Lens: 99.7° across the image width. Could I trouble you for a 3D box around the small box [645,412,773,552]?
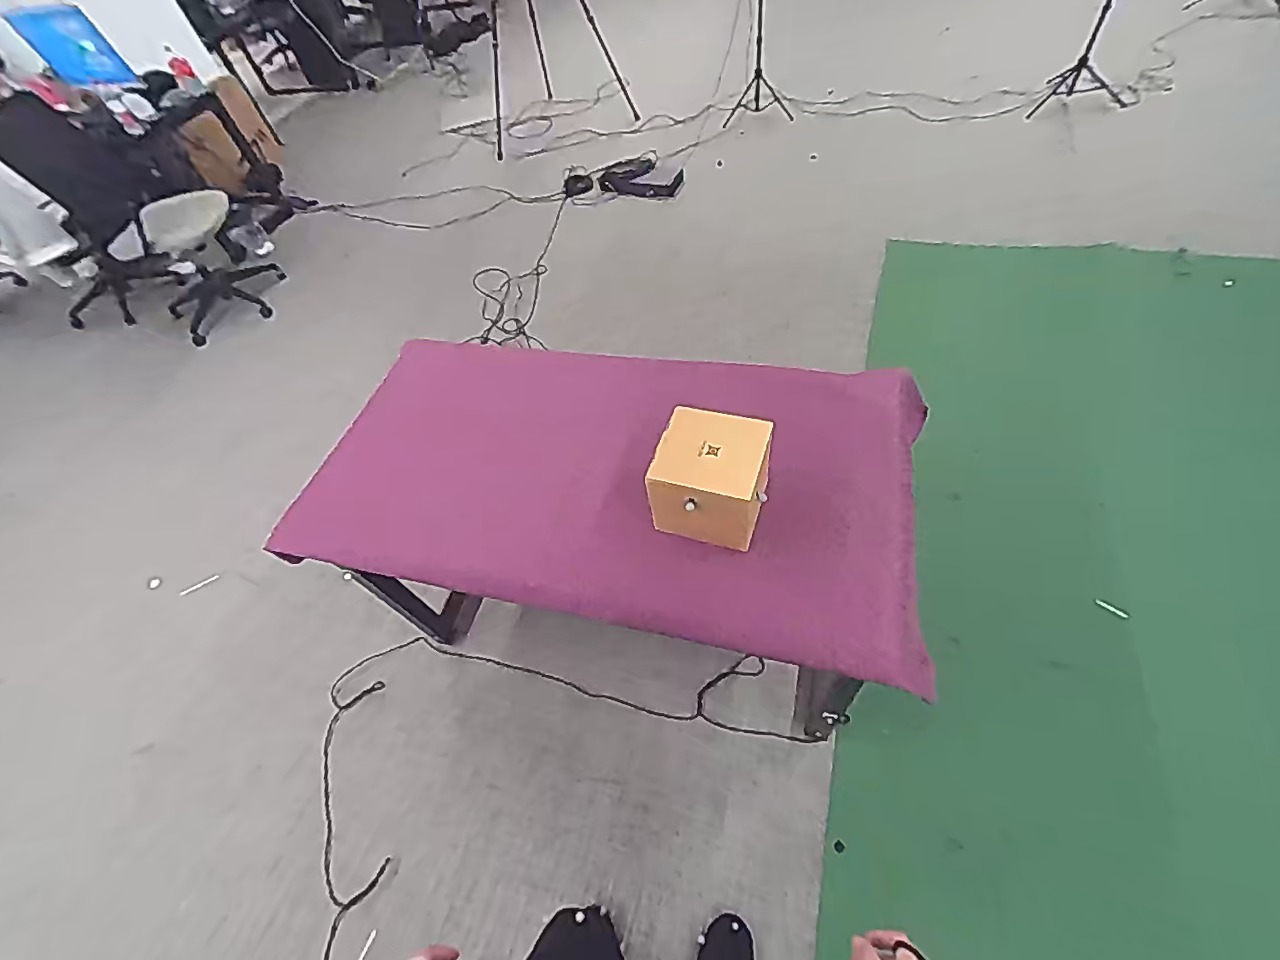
[{"bbox_3d":[0.126,0.008,0.955,0.179,0.176,0.168,13,57,18],"label":"small box"}]
